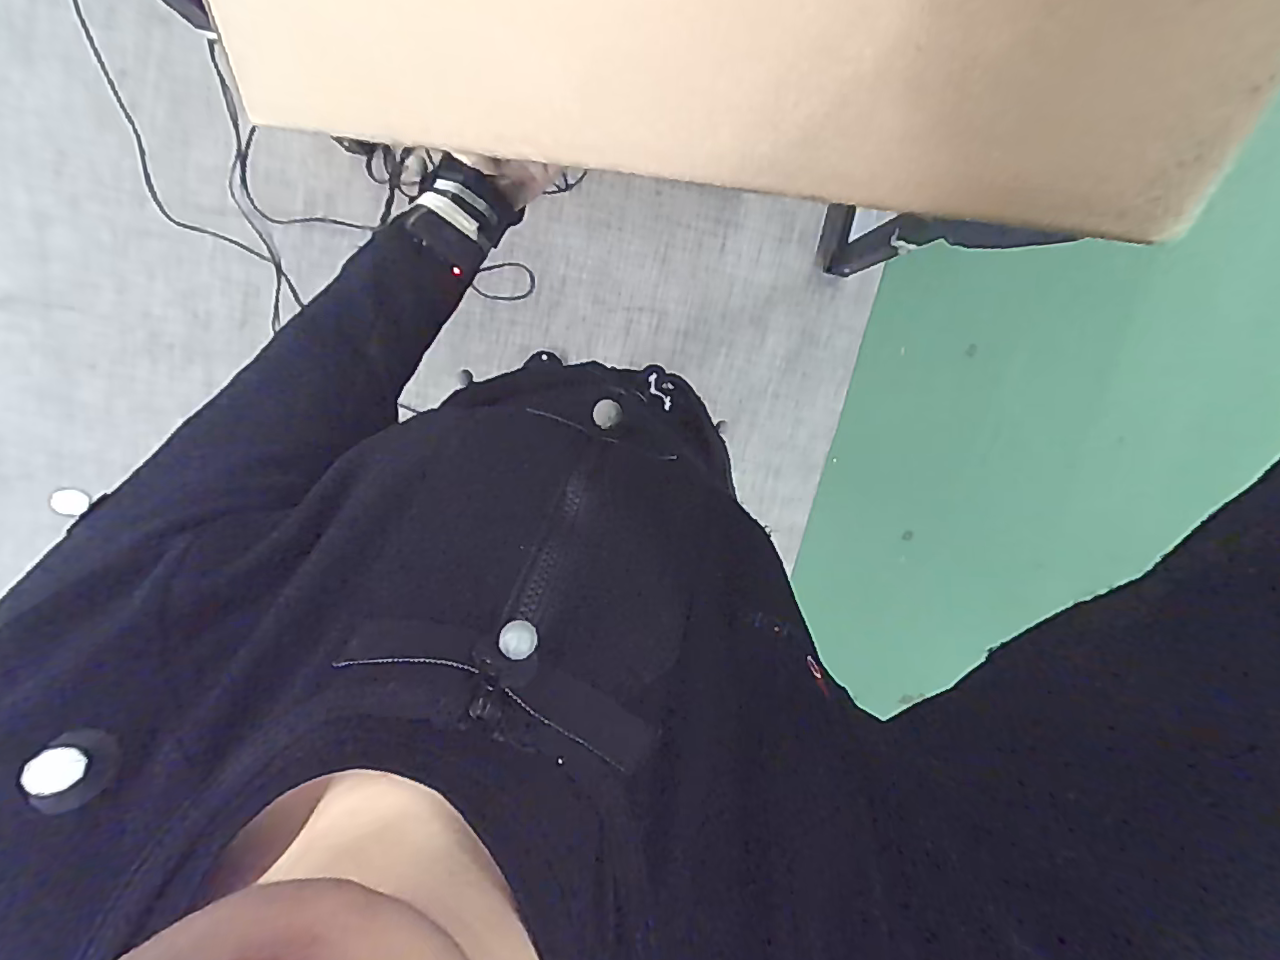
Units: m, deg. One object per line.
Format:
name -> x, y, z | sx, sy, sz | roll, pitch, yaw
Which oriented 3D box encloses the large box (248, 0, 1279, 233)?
large box -> 0.055, -0.335, 0.258 | 0.408, 0.320, 0.320 | 12, 130, 12
